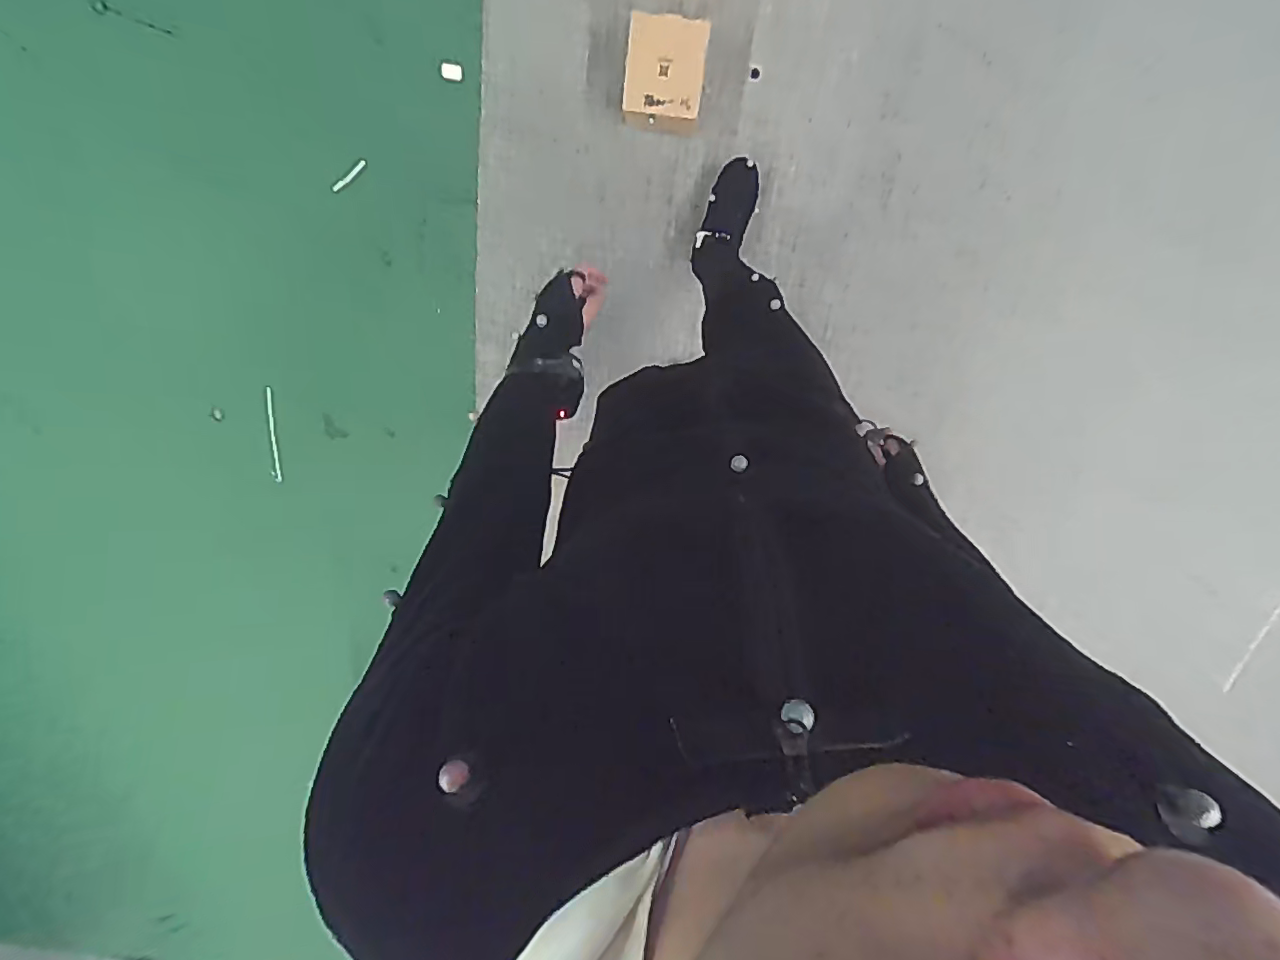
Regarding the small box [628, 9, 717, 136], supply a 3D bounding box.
[{"bbox_3d":[0.072,-0.896,1.204,0.168,0.176,0.179,9,112,3],"label":"small box"}]
